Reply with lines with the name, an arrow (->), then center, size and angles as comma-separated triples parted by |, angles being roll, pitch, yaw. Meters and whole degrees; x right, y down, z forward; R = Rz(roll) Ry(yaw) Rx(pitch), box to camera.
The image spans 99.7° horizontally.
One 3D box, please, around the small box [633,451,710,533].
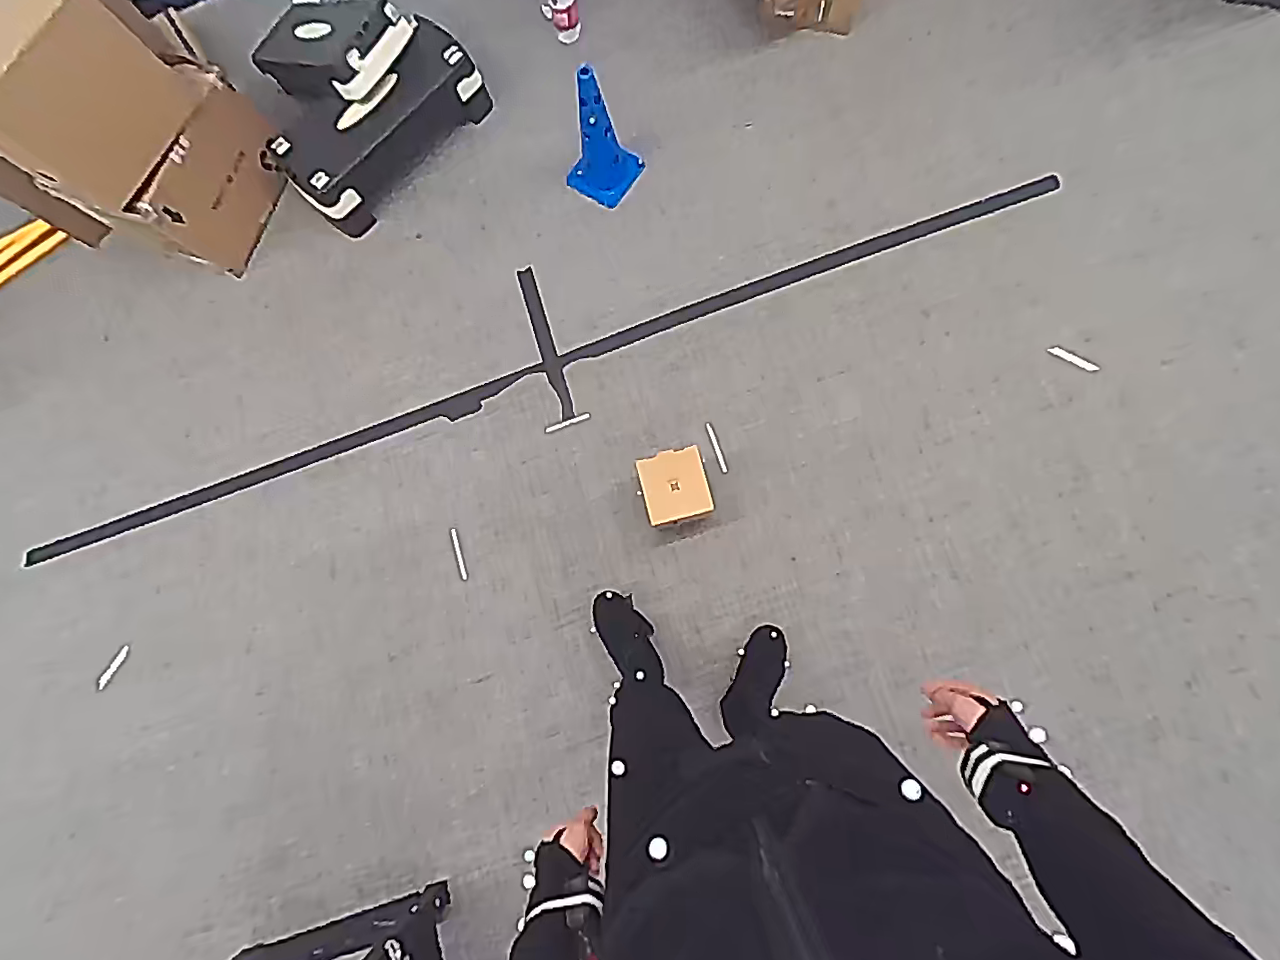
small box -> 0.088, 0.041, 1.453 | 0.168, 0.176, 0.179 | -15, 77, 2
